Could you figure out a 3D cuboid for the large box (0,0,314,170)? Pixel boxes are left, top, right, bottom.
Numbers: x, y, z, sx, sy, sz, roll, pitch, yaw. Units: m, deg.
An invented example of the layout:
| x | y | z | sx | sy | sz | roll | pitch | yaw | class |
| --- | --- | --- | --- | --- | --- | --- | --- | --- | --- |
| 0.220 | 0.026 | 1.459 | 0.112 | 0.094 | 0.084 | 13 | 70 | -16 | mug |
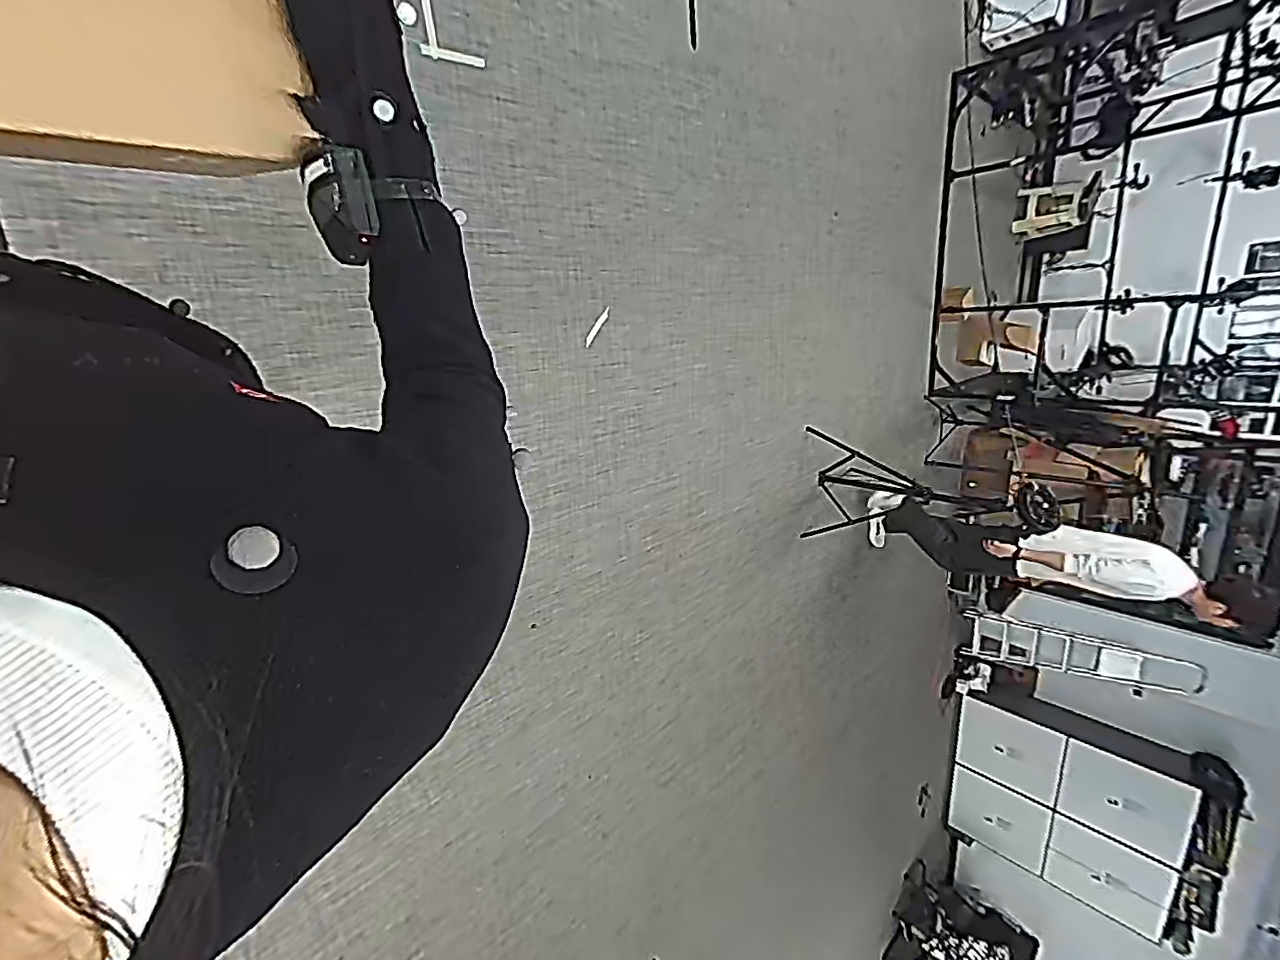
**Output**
| x | y | z | sx | sy | sz | roll | pitch | yaw | class |
| --- | --- | --- | --- | --- | --- | --- | --- | --- | --- |
| -0.477 | -0.374 | 0.304 | 0.408 | 0.320 | 0.320 | -19 | 124 | -40 | large box |
